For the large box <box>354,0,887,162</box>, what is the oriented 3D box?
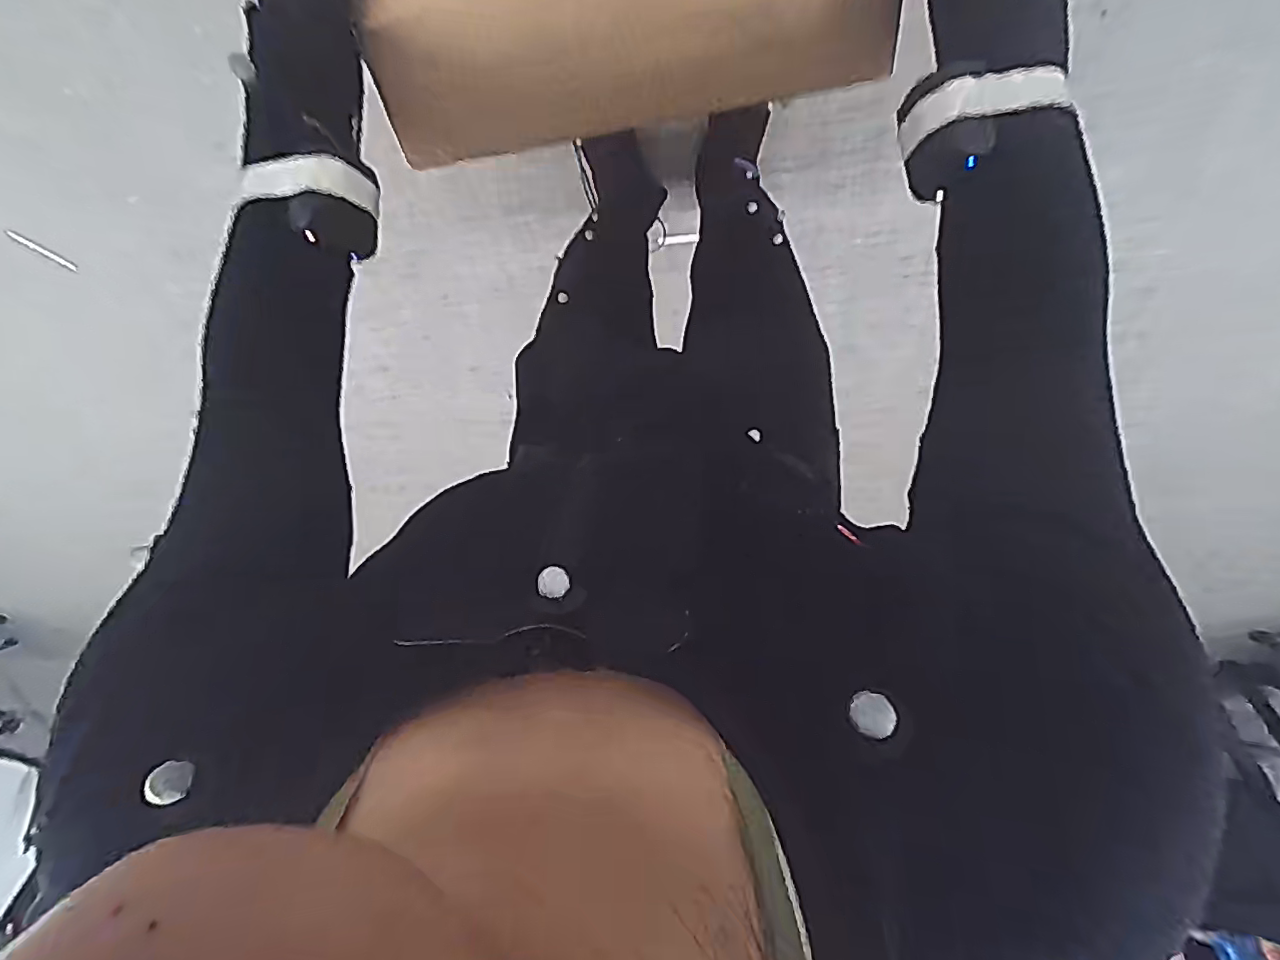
[{"bbox_3d":[-0.025,-0.520,0.463,0.408,0.320,0.320,-7,132,6],"label":"large box"}]
